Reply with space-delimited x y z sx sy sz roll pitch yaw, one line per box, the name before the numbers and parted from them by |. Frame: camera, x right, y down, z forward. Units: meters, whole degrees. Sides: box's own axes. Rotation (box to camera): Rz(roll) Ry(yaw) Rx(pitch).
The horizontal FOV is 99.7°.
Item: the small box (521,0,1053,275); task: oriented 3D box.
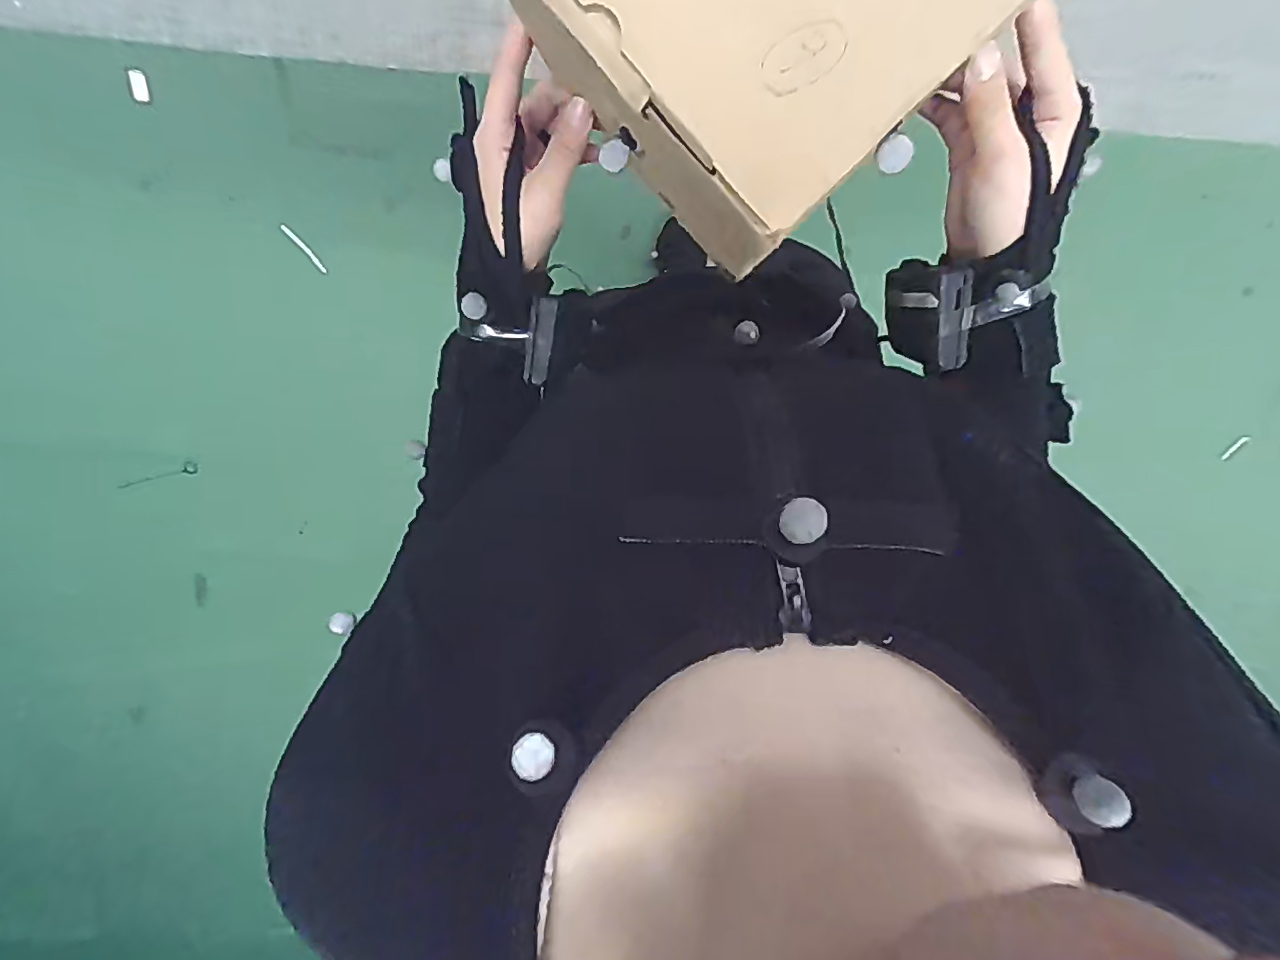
small box | 0.060 -0.208 0.223 0.179 0.176 0.168 -41 98 16
